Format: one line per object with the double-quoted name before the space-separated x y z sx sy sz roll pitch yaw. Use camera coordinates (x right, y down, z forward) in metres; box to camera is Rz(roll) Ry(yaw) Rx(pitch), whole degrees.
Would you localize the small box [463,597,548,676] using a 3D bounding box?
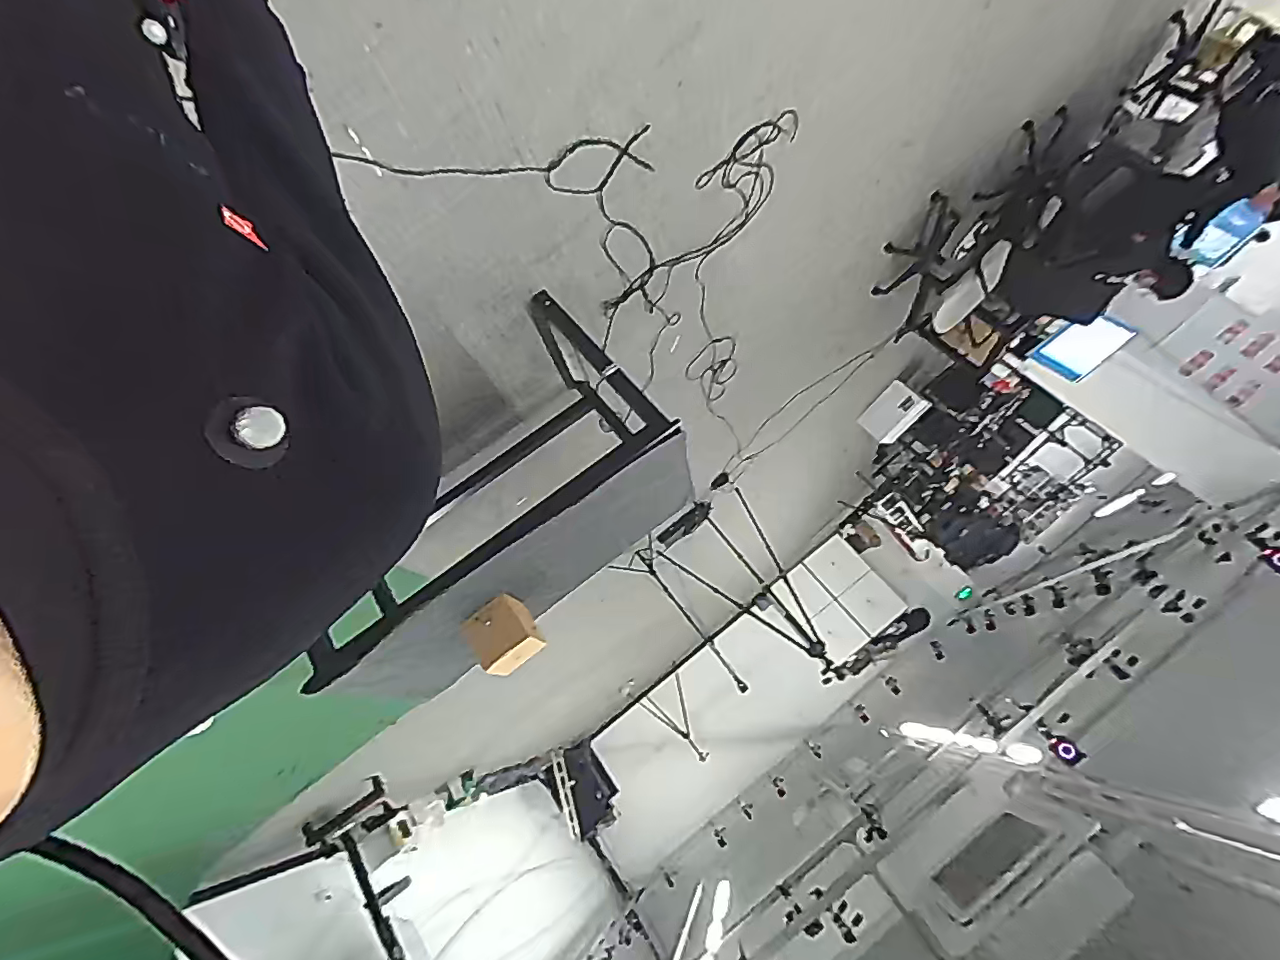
"small box" -0.417 0.486 1.683 0.168 0.176 0.179 -37 155 -7
